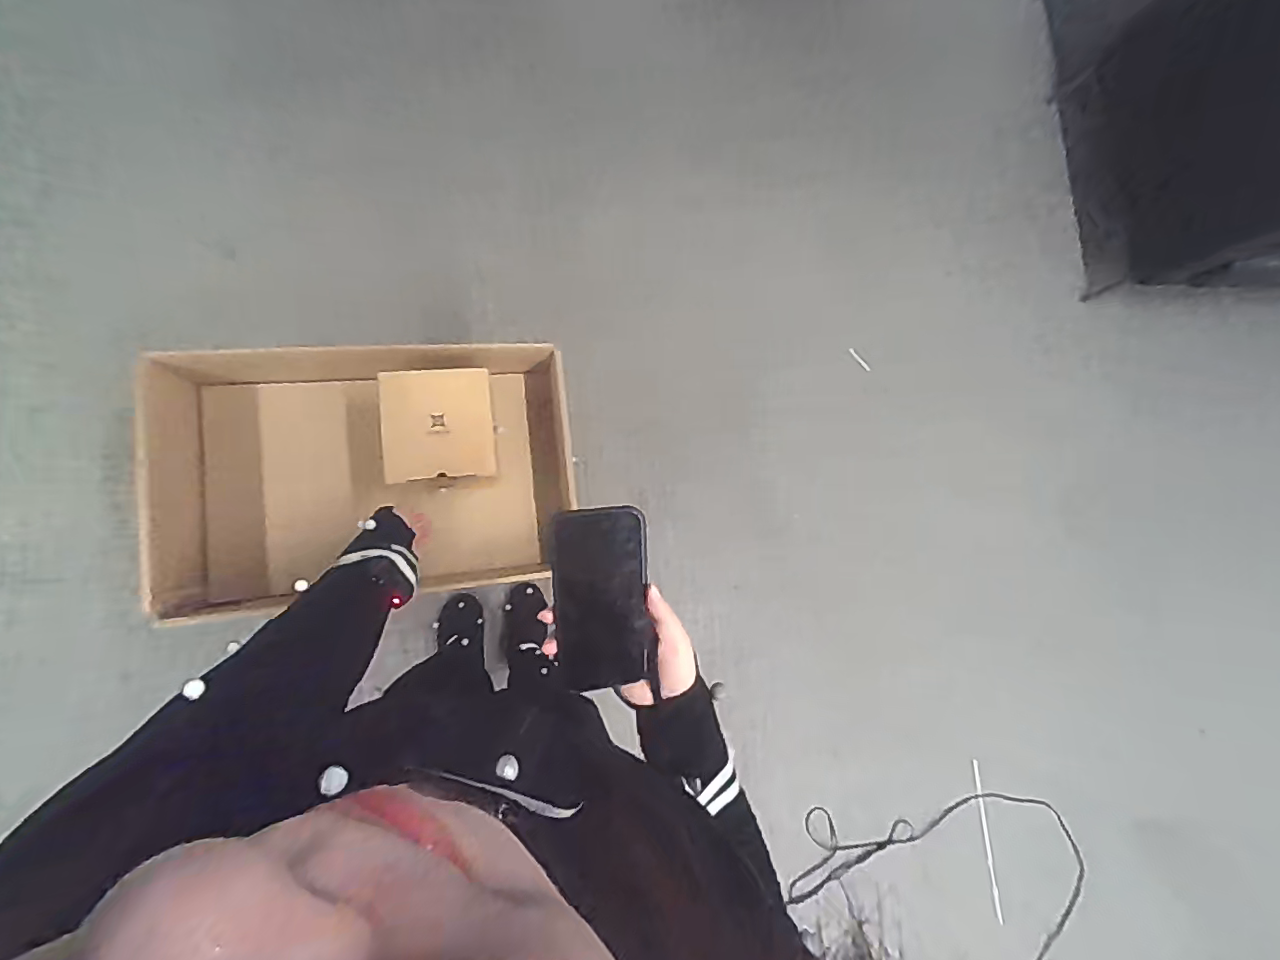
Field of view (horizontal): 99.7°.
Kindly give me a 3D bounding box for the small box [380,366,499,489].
[{"bbox_3d":[-0.332,-0.083,0.917,0.168,0.176,0.179,-5,86,-13],"label":"small box"}]
